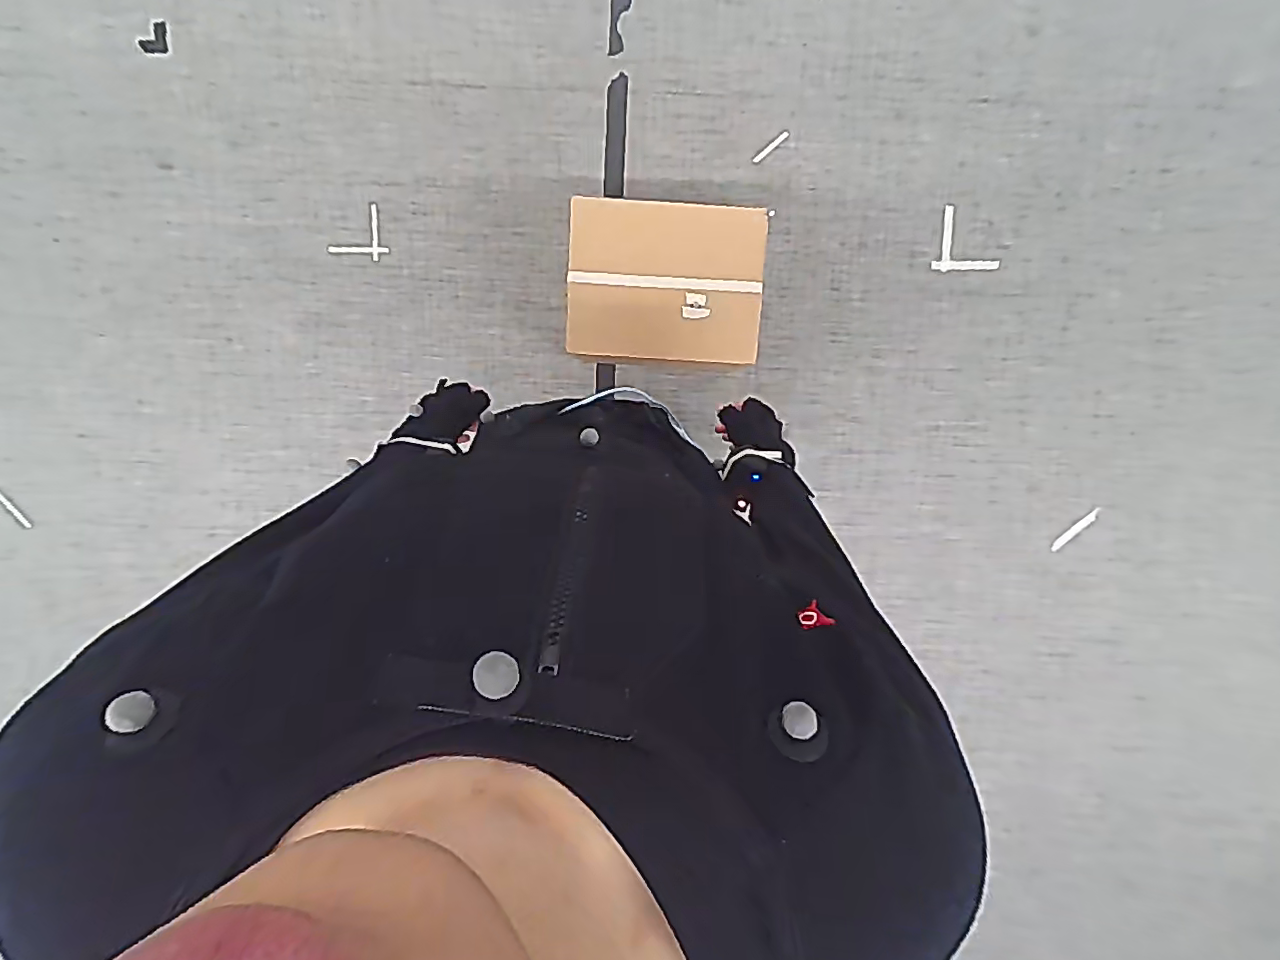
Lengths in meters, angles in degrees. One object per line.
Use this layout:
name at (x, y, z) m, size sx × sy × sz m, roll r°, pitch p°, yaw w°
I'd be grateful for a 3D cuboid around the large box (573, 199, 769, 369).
large box at (0.057, -0.437, 1.279) m, size 0.408 × 0.320 × 0.320 m, roll 4°, pitch 100°, yaw -2°
